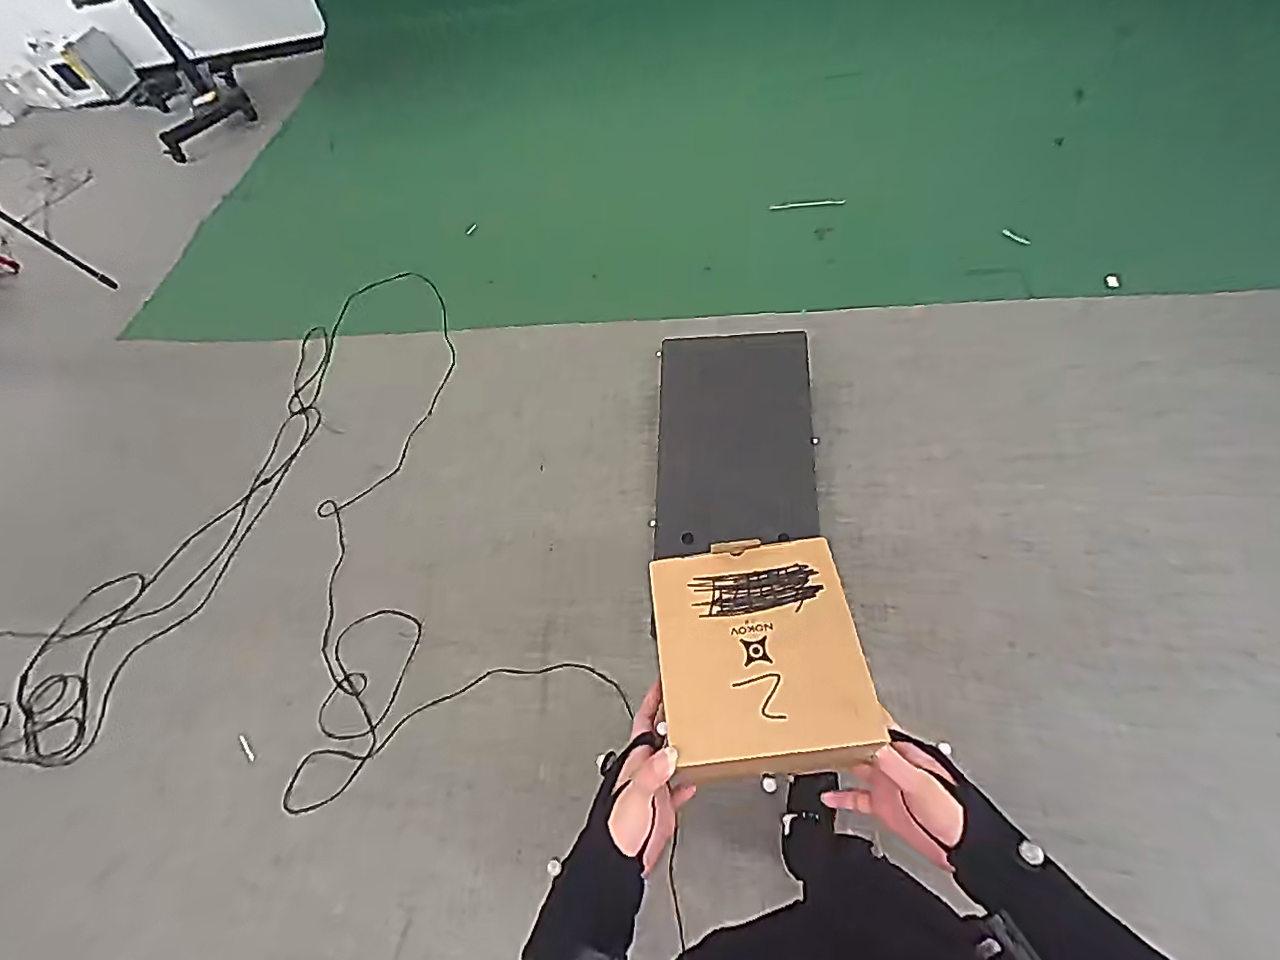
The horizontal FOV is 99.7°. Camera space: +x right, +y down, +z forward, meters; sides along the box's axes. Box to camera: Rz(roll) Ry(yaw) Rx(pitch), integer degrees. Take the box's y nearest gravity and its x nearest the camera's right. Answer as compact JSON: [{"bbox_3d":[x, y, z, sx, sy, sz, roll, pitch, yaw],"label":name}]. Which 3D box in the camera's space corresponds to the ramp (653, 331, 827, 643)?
[{"bbox_3d":[0.300,-0.019,1.683,0.509,0.206,0.991,-2,61,9],"label":"ramp"}]
